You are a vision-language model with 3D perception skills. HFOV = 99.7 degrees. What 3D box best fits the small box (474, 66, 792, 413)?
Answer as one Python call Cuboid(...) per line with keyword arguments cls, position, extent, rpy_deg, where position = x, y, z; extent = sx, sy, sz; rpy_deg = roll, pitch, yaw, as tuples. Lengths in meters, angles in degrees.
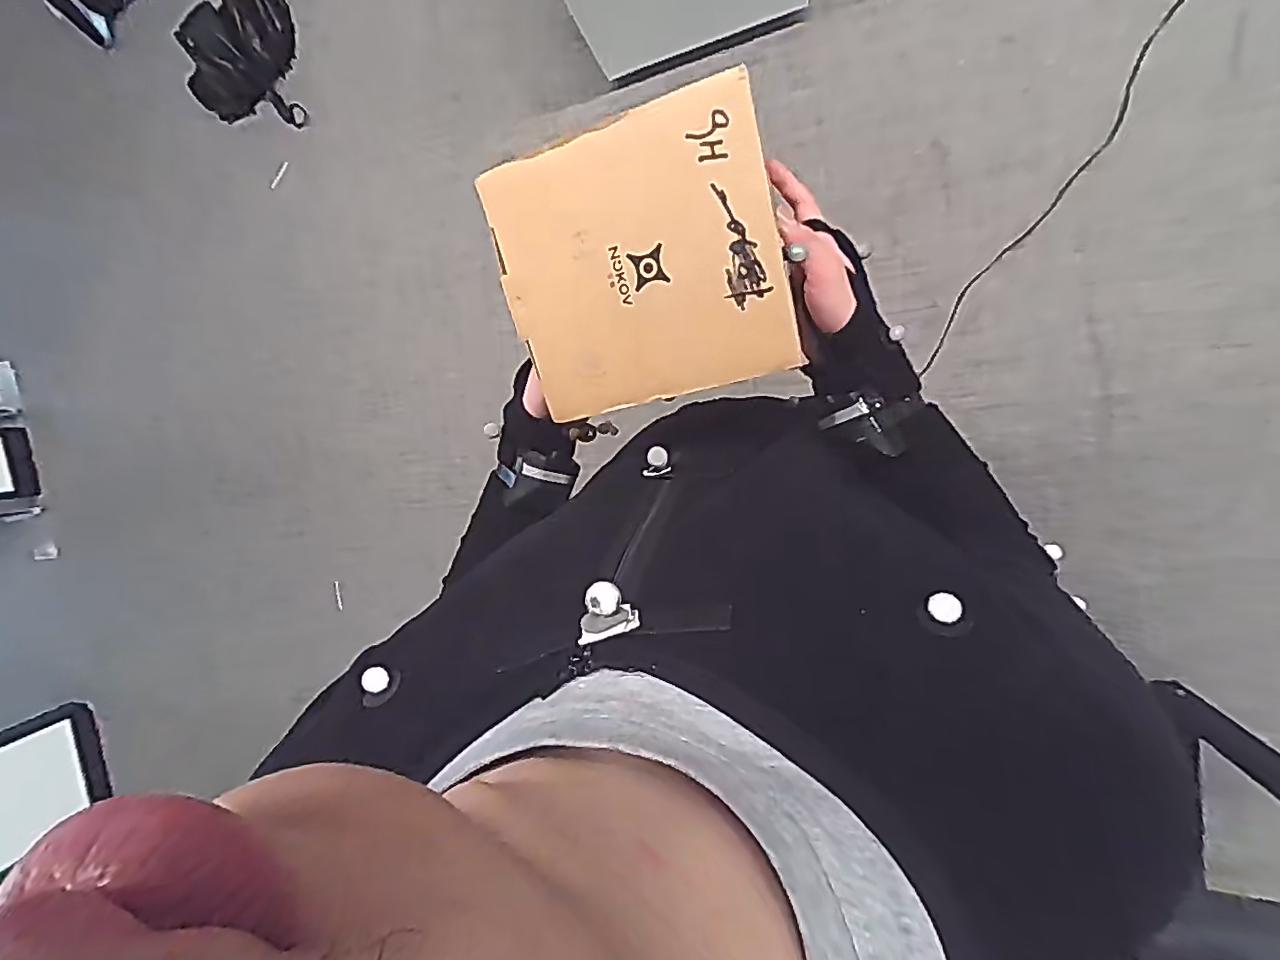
Cuboid(cls="small box", position=(0.013, -0.160, 0.410), extent=(0.179, 0.176, 0.168), rpy_deg=(-10, 107, 19))
